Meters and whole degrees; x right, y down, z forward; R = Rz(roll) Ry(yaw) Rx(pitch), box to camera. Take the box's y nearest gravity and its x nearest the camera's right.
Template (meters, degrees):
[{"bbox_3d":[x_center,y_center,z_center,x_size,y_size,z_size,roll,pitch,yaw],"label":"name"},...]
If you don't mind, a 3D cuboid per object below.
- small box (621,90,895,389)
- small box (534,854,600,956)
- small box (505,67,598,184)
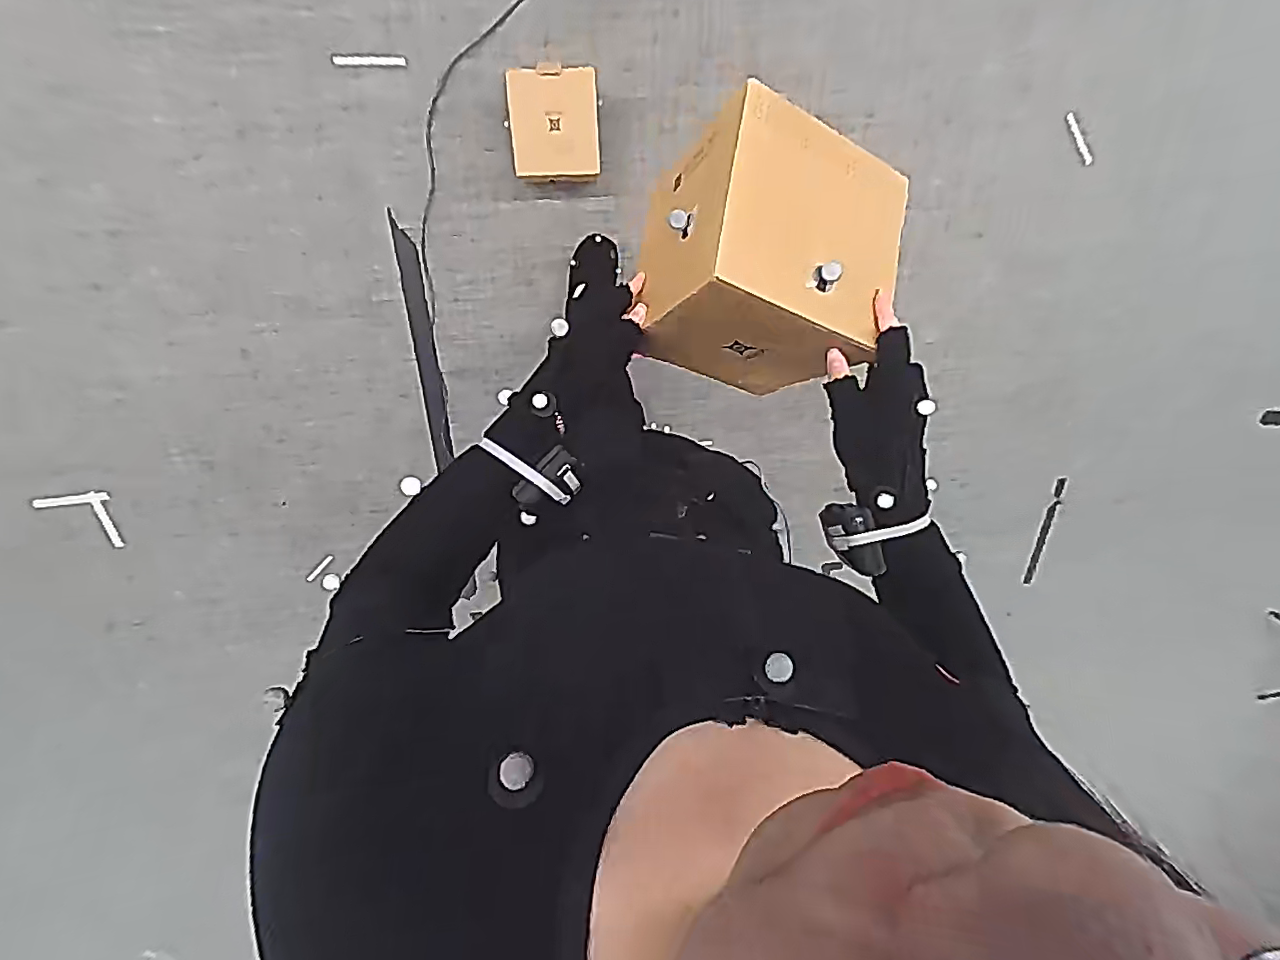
[{"bbox_3d":[0.105,-0.204,0.496,0.179,0.168,0.176,14,80,-25],"label":"small box"},{"bbox_3d":[-0.209,1.212,1.557,0.168,0.176,0.179,-7,114,-4],"label":"small box"},{"bbox_3d":[-0.174,-0.704,1.090,0.168,0.176,0.179,-4,115,-5],"label":"small box"}]
